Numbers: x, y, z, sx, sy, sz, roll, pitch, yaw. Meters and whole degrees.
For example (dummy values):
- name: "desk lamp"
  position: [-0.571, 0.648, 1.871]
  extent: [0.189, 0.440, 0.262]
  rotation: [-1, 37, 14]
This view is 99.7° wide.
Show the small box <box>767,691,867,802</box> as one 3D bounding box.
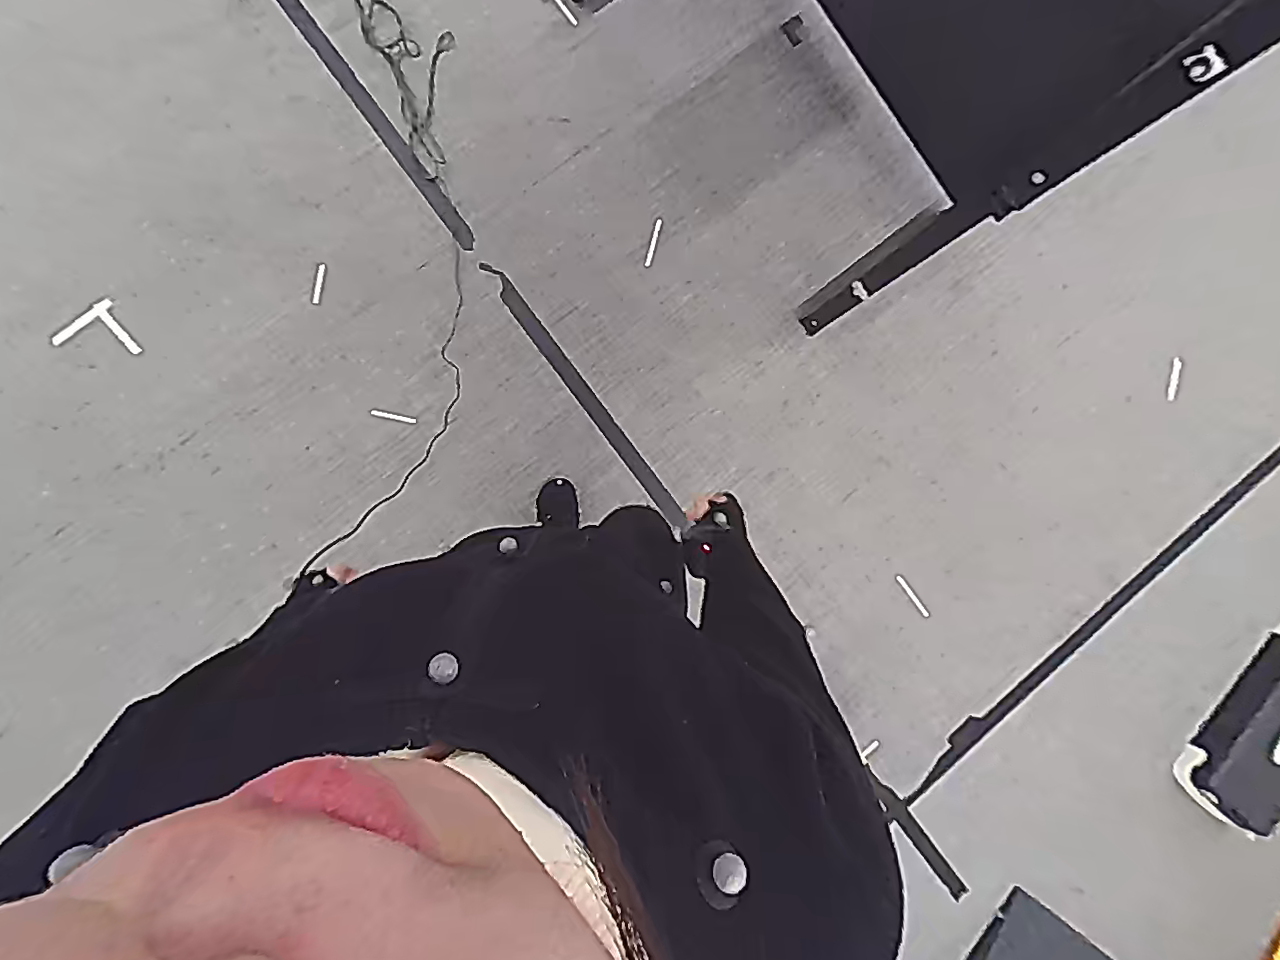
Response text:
- name: "small box"
  position: [0.468, 0.715, 1.468]
  extent: [0.179, 0.176, 0.168]
  rotation: [-38, 94, -3]
